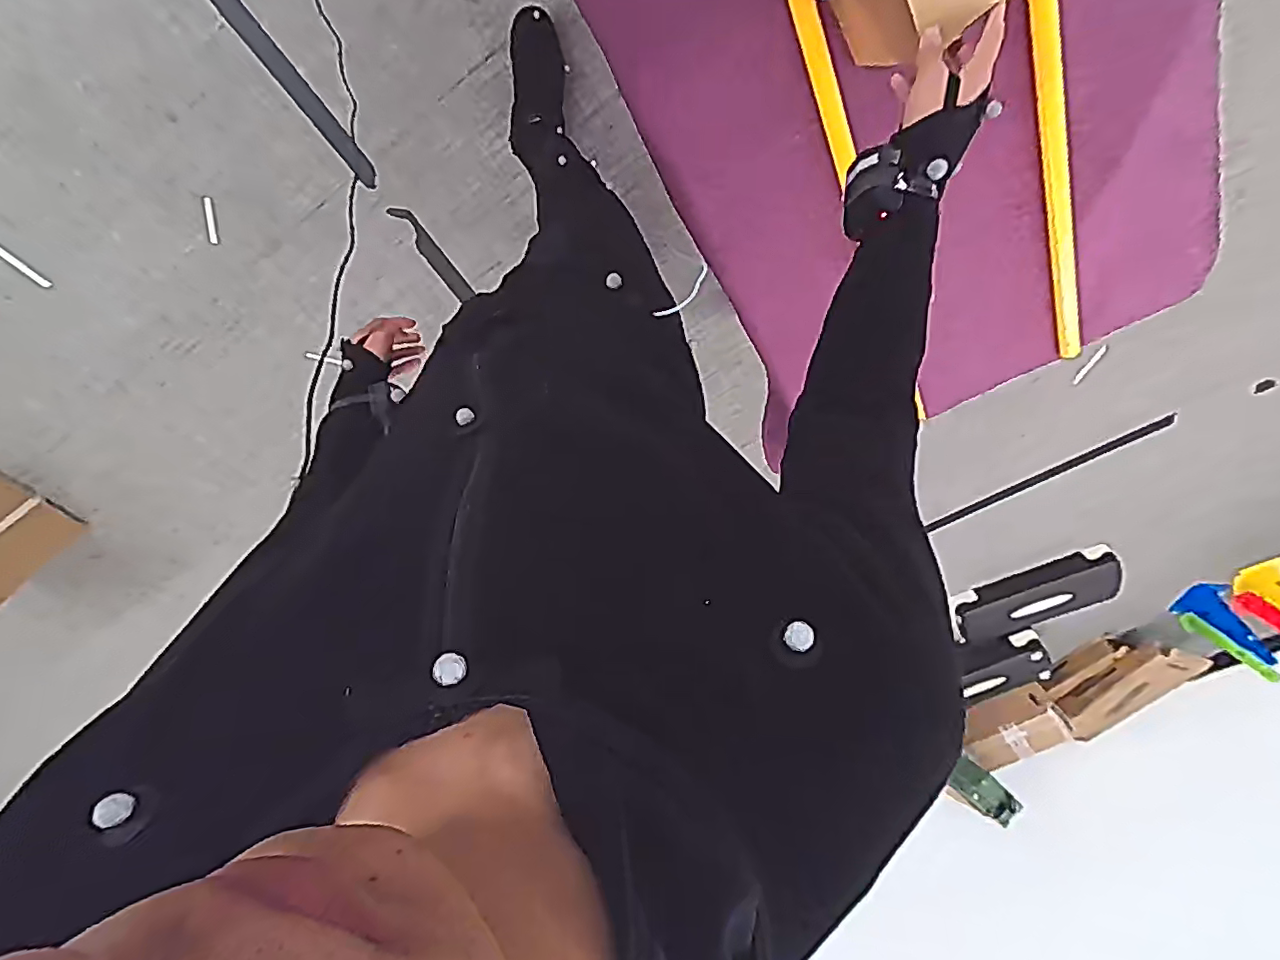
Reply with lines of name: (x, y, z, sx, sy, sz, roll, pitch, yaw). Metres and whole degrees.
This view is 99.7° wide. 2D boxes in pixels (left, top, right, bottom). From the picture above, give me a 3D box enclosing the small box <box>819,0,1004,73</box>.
small box: (0.260, -0.523, 0.496, 0.168, 0.176, 0.179, -34, 124, 20)
